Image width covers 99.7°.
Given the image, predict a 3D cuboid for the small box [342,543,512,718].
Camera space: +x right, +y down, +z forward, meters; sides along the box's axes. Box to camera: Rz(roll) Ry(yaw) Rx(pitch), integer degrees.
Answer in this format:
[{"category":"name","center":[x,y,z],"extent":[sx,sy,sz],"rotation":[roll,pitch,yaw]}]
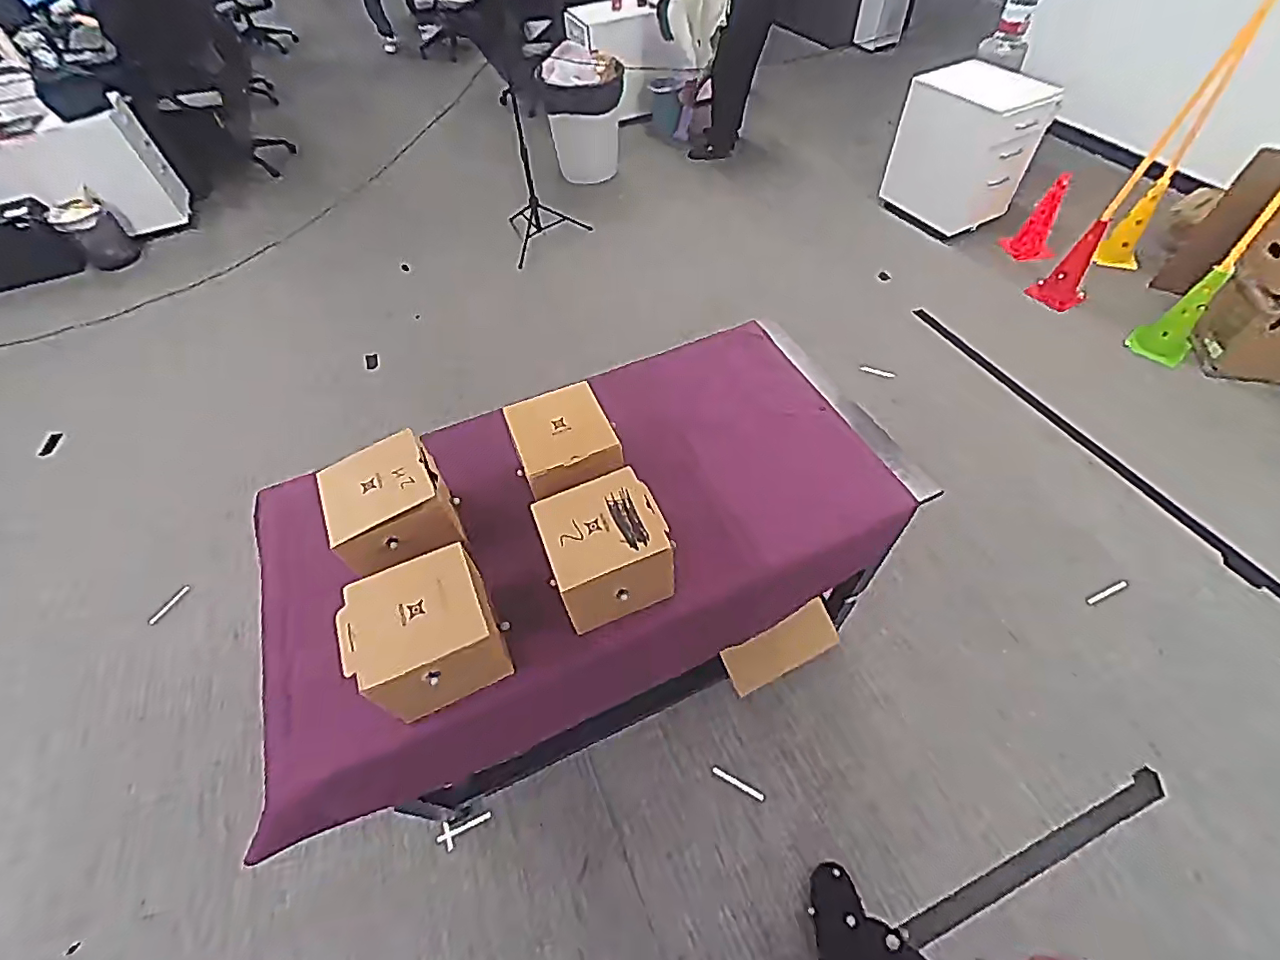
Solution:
[{"category":"small box","center":[-0.313,0.231,0.812],"extent":[0.179,0.176,0.168],"rotation":[-22,56,-13]}]

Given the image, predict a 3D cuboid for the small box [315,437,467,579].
[{"category":"small box","center":[-0.426,0.061,0.941],"extent":[0.179,0.176,0.168],"rotation":[-24,57,-14]}]
